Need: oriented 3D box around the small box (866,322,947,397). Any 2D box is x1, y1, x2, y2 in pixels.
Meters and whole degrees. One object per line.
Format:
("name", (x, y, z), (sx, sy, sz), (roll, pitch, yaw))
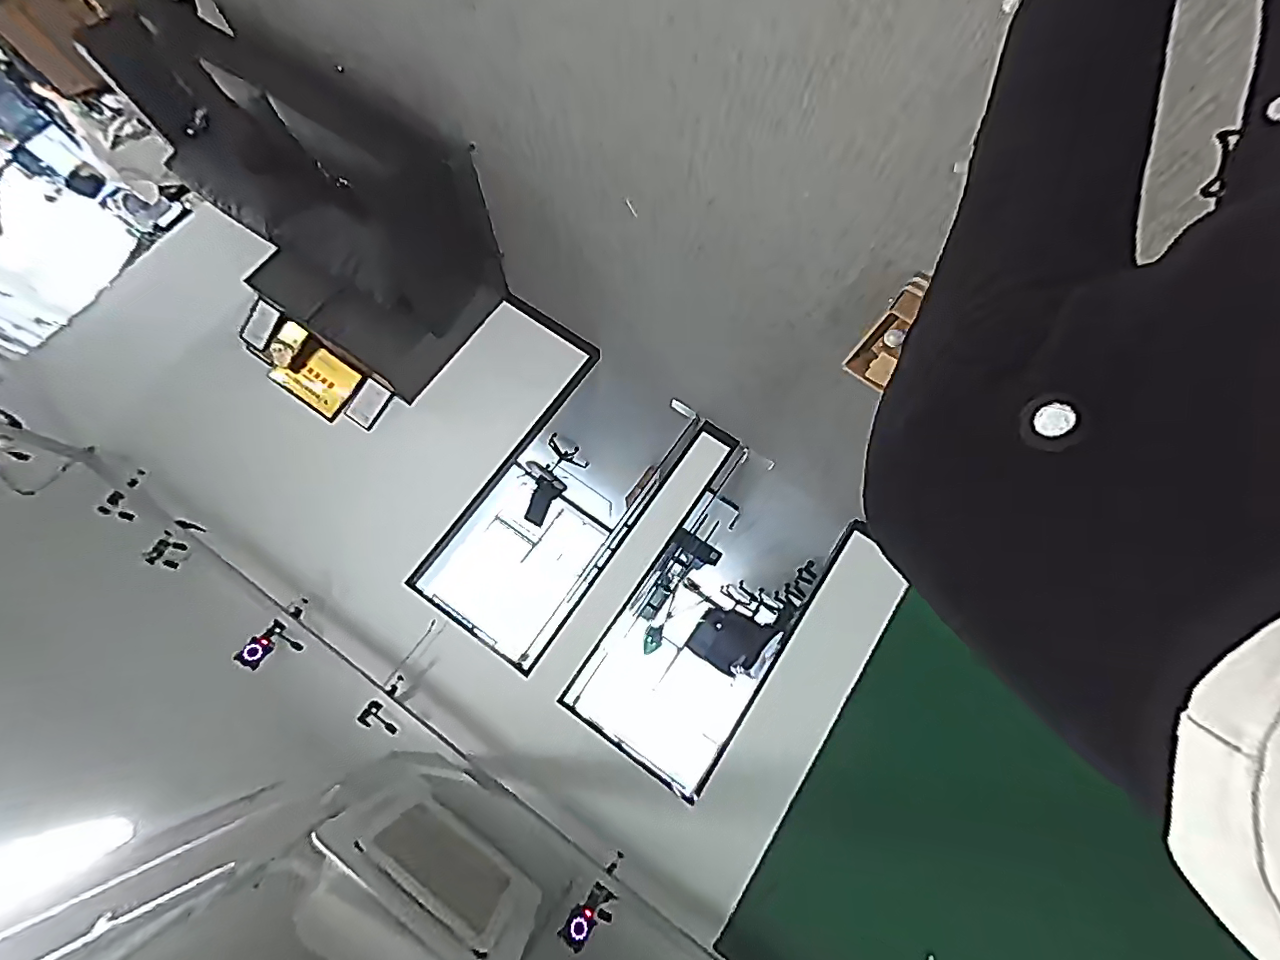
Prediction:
("small box", (0.962, -0.439, 1.952), (0.179, 0.176, 0.168), (33, 165, 11))
